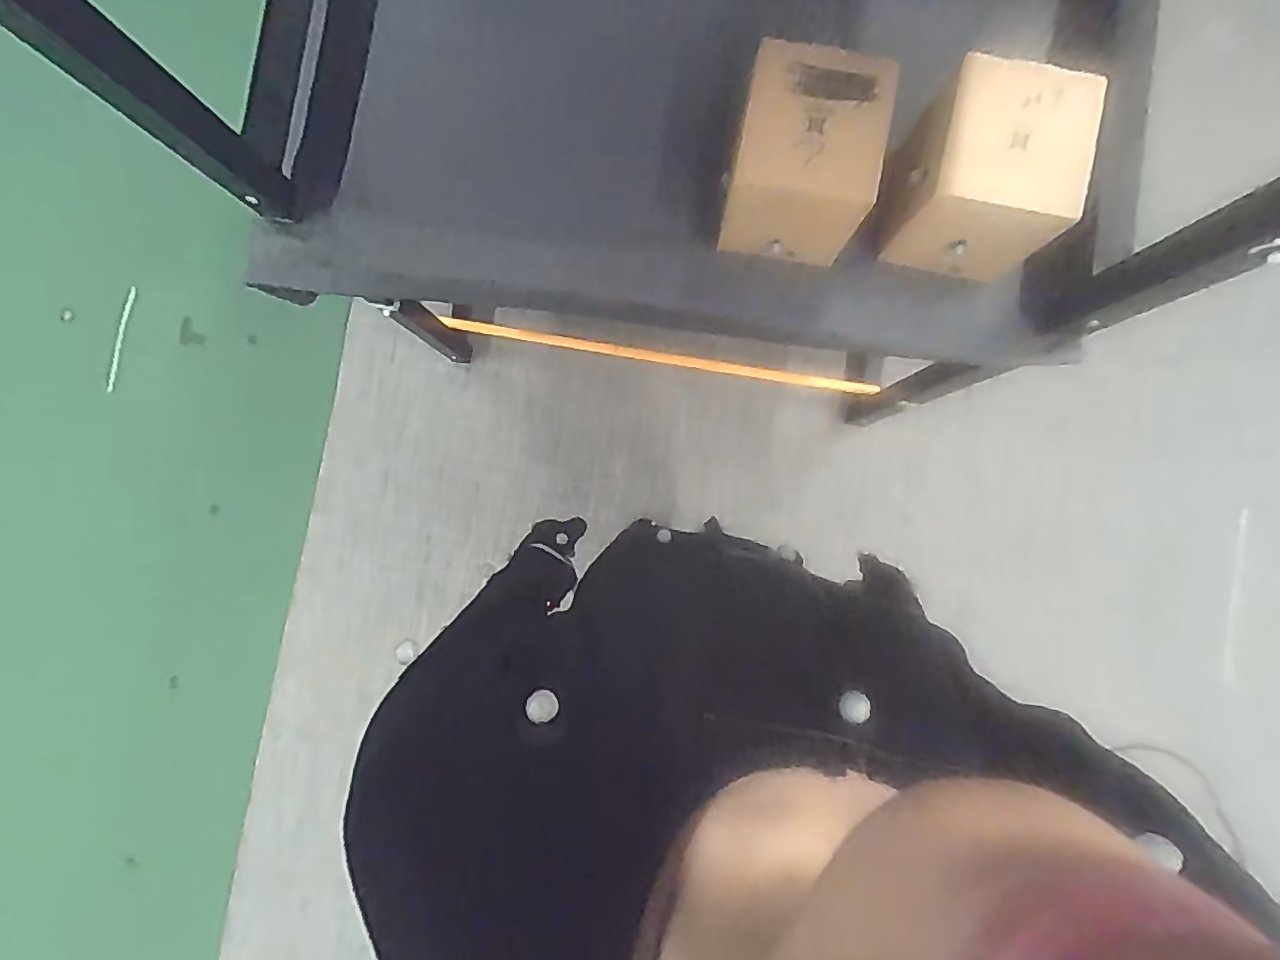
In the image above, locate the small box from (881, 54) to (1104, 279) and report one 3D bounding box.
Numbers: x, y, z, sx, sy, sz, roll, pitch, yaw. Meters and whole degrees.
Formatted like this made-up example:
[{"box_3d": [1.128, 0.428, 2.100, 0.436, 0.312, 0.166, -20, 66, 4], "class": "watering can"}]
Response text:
[{"box_3d": [0.433, -0.385, 0.694, 0.168, 0.176, 0.179, 13, 86, 2], "class": "small box"}]
